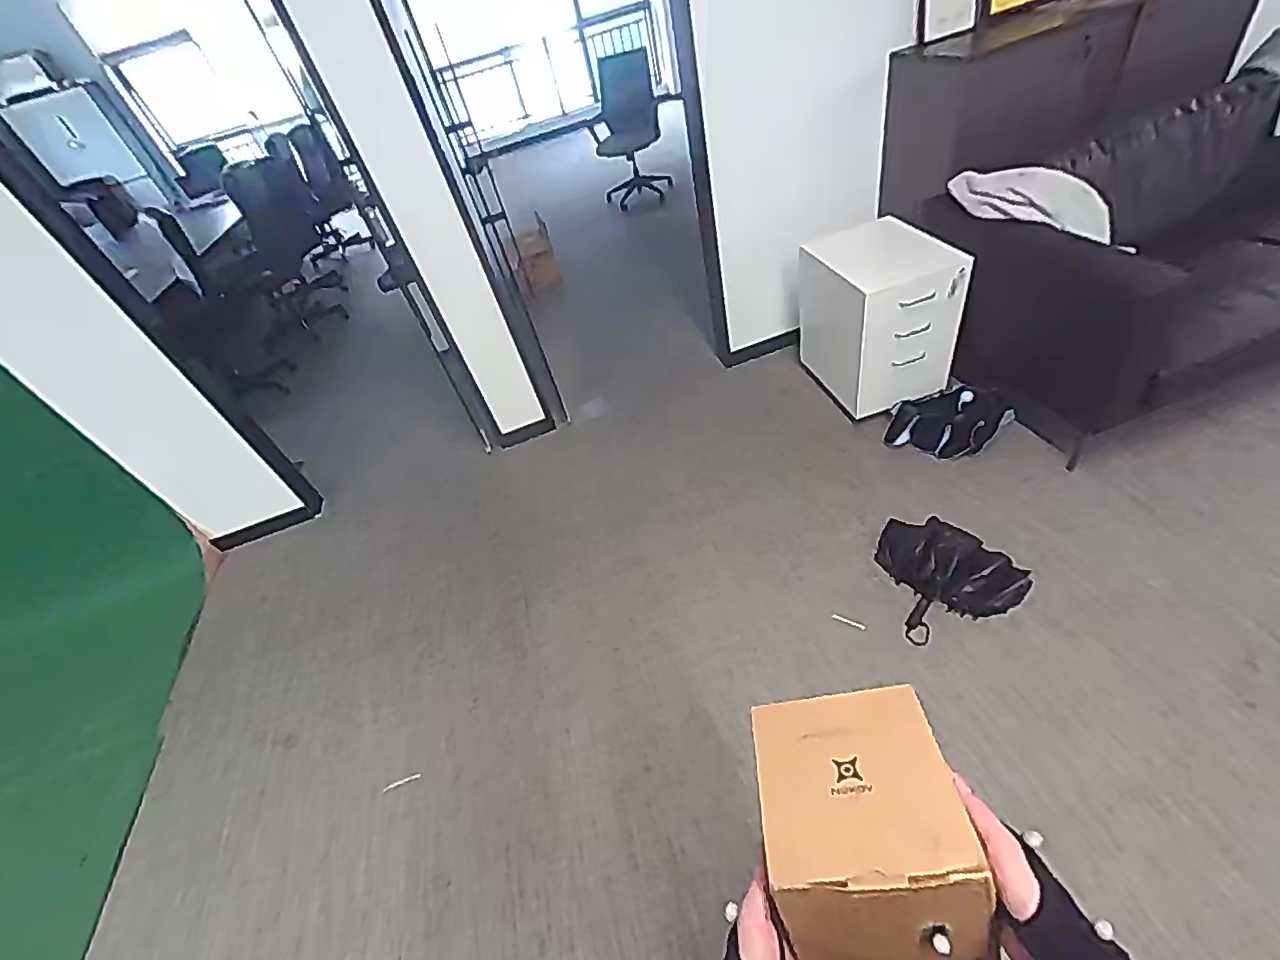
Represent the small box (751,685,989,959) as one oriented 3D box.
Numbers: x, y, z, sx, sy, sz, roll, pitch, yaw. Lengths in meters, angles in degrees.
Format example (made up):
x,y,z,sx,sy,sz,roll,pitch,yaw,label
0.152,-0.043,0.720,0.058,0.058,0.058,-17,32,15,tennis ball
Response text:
x,y,z,sx,sy,sz,roll,pitch,yaw,label
0.211,0.334,0.520,0.168,0.176,0.179,-13,24,12,small box
